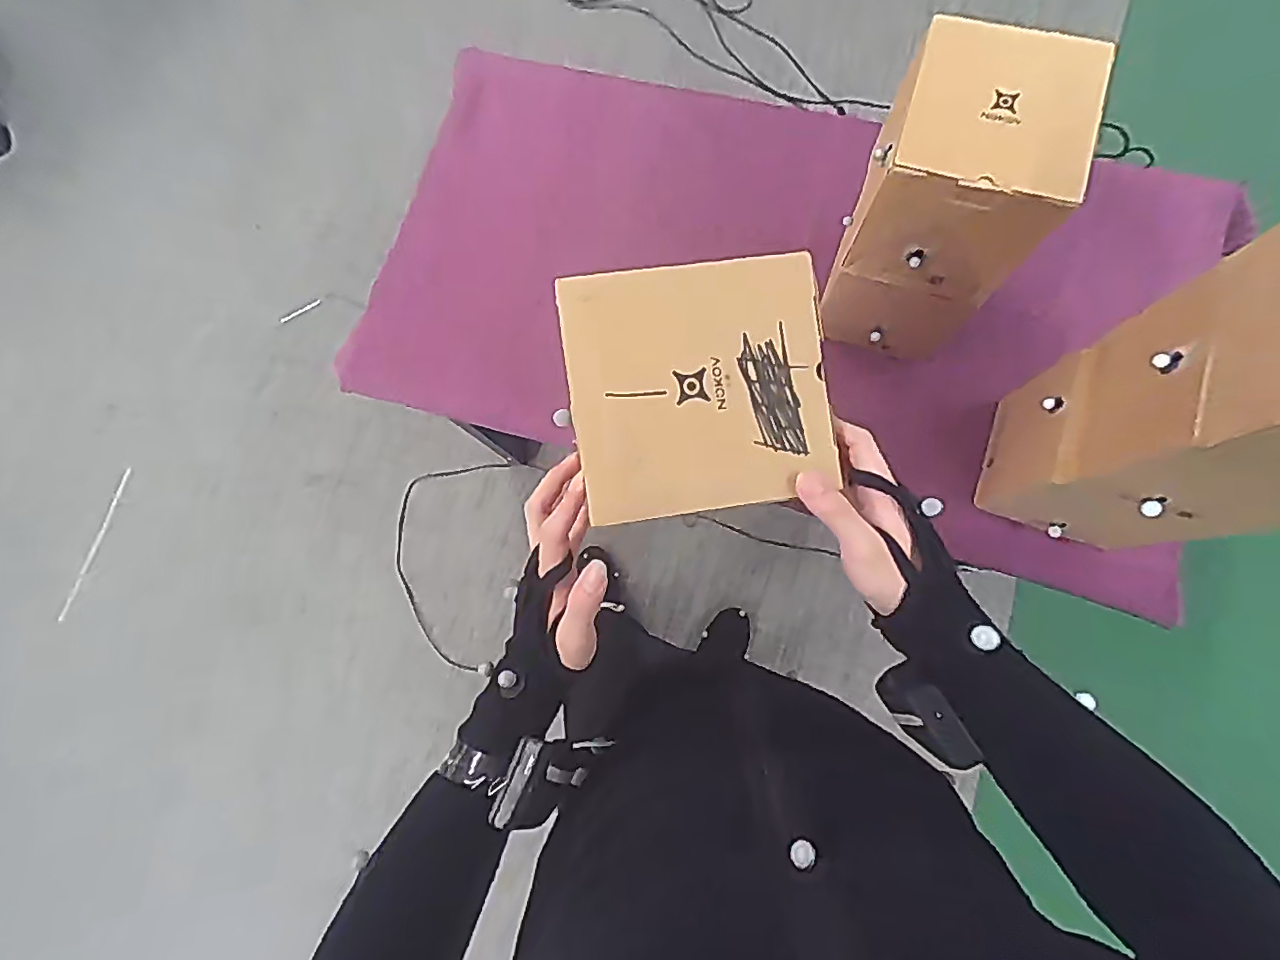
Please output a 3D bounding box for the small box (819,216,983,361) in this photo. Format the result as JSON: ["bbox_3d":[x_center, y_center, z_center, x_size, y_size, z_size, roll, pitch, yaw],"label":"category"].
[{"bbox_3d":[0.355,-0.291,0.733,0.168,0.176,0.179,20,82,8],"label":"small box"}]

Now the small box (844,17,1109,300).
[{"bbox_3d":[0.337,-0.325,0.575,0.168,0.176,0.179,17,82,7],"label":"small box"}]

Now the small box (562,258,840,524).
[{"bbox_3d":[0.035,-0.062,0.441,0.179,0.176,0.168,-8,90,-5],"label":"small box"}]

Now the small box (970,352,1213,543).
[{"bbox_3d":[0.553,-0.028,0.666,0.179,0.176,0.168,20,80,9],"label":"small box"}]

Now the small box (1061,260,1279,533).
[{"bbox_3d":[0.544,-0.064,0.506,0.168,0.176,0.179,20,81,10],"label":"small box"}]
